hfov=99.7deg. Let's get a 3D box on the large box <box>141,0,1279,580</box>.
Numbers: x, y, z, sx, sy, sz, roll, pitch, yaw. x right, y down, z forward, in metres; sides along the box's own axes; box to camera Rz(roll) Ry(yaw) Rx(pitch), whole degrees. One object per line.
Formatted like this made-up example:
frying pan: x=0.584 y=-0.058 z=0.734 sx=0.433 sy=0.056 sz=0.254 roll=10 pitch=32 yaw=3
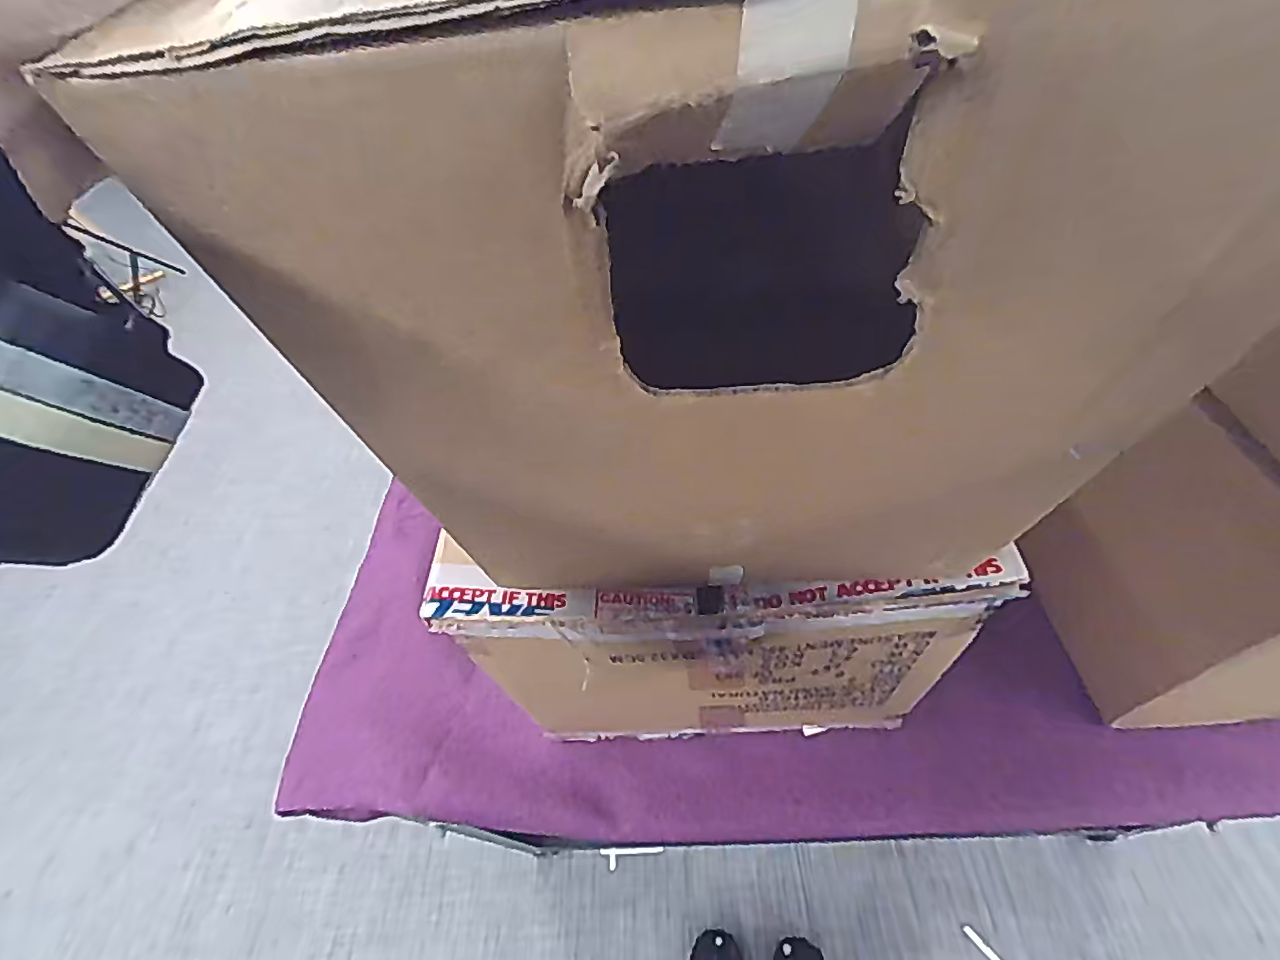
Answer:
large box: x=0.050 y=-0.183 z=0.332 sx=0.320 sy=0.320 sz=0.408 roll=-4 pitch=60 yaw=5
